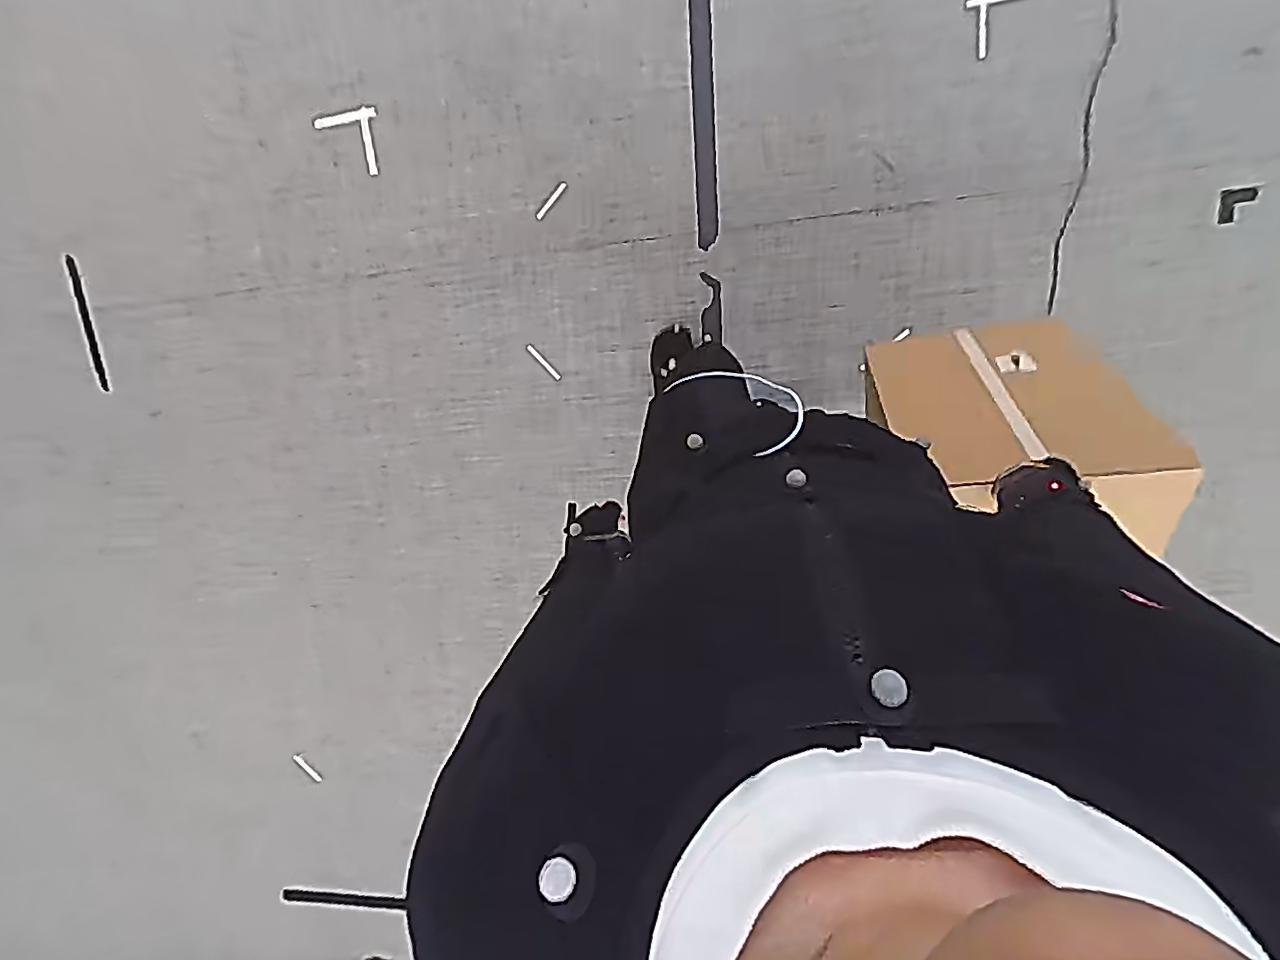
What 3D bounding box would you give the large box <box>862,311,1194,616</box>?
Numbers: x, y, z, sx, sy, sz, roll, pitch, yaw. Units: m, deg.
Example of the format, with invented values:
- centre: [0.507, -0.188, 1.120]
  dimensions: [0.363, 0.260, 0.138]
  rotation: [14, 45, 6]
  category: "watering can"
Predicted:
- centre: [0.571, -0.030, 0.906]
  dimensions: [0.320, 0.408, 0.320]
  rotation: [-5, 129, 16]
  category: "large box"
